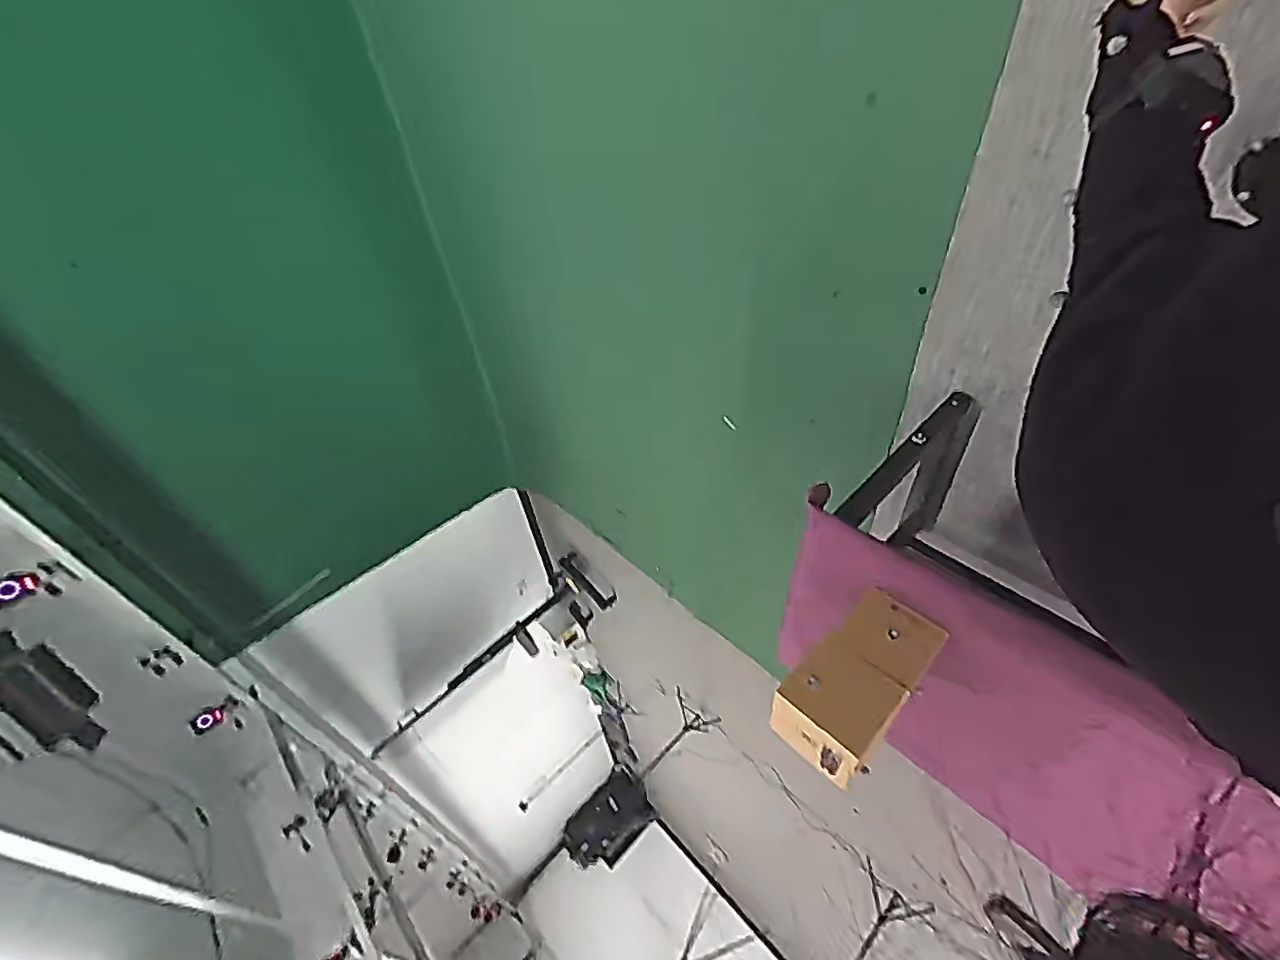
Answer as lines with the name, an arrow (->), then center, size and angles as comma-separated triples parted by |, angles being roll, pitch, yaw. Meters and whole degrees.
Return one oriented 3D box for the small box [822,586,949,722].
small box -> 0.508, 0.354, 1.120 | 0.168, 0.176, 0.179 | 34, 148, 33
